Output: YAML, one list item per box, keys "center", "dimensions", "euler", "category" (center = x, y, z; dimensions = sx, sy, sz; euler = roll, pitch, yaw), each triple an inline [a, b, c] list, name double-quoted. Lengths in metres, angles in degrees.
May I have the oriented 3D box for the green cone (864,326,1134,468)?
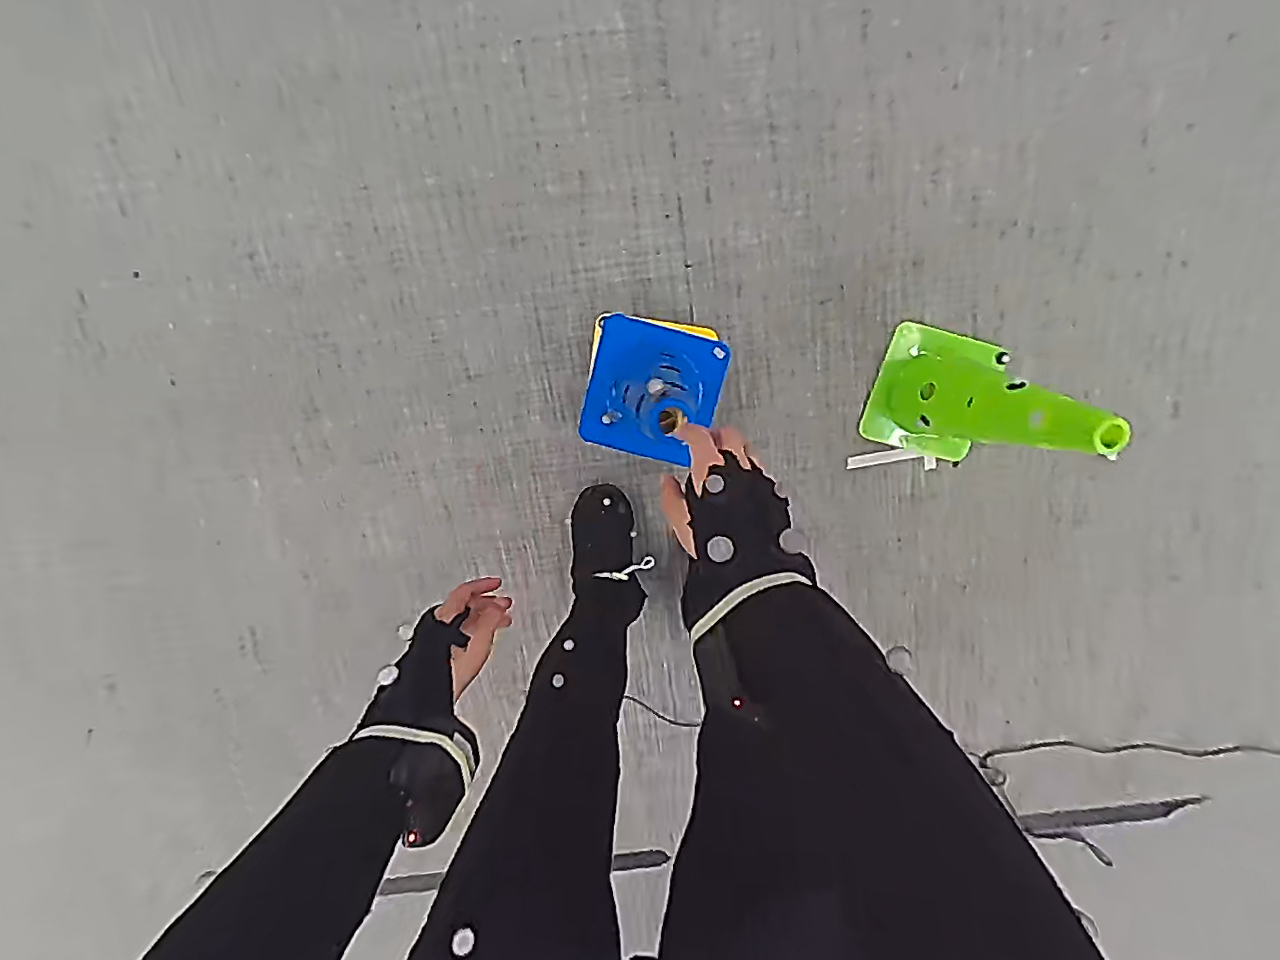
- center: [0.495, -0.089, 0.737]
  dimensions: [0.200, 0.368, 0.202]
  euler: [13, 106, -5]
  category: "green cone"
